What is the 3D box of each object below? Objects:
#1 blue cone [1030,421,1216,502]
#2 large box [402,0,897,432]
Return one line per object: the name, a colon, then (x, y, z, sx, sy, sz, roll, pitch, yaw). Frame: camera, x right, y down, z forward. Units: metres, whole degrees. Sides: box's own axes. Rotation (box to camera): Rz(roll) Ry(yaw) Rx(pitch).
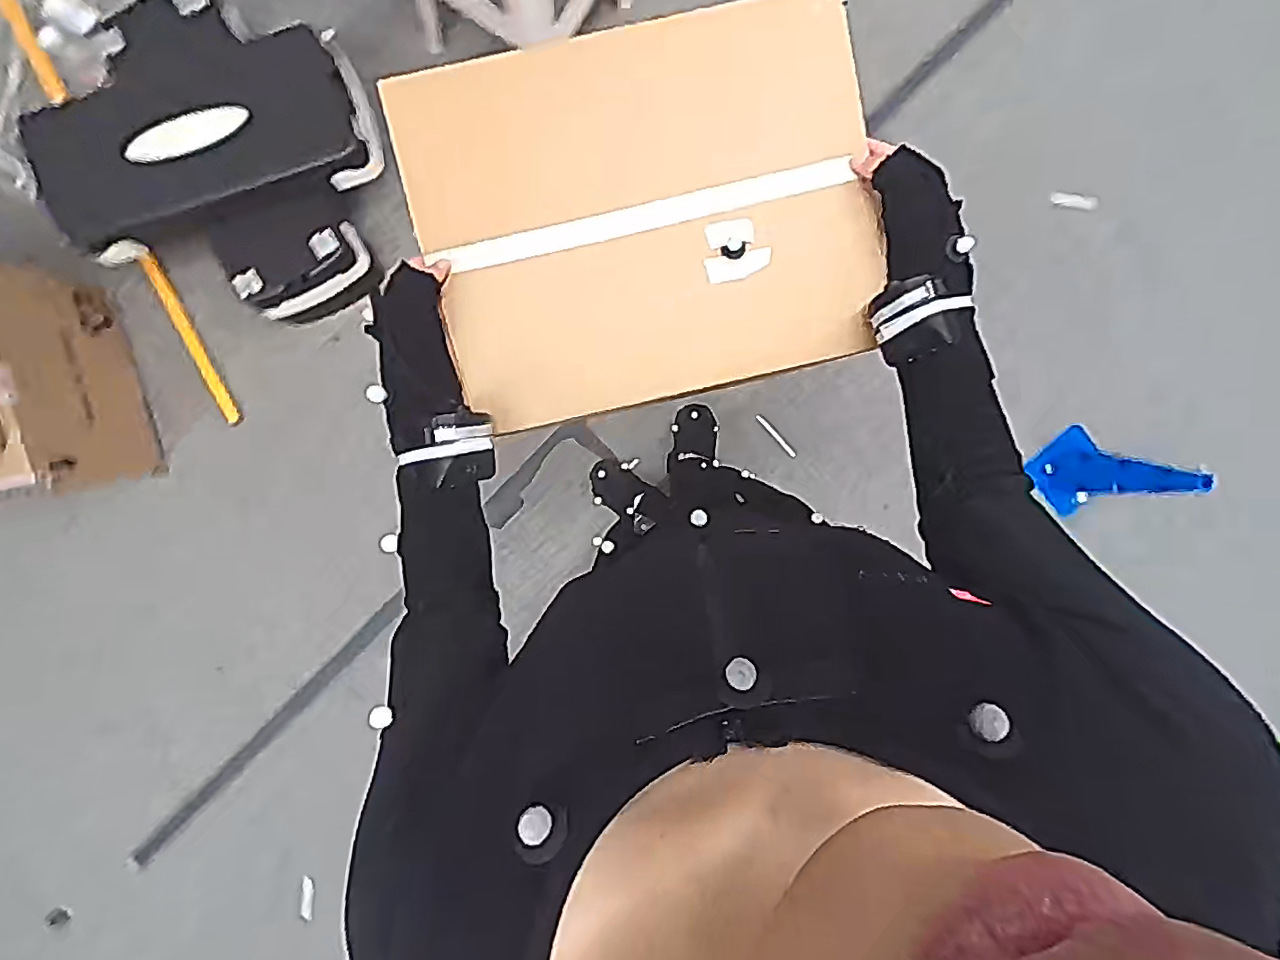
blue cone: (1.222, -0.036, 1.363, 0.192, 0.380, 0.193, -41, 96, 1)
large box: (0.009, -0.249, 0.634, 0.408, 0.320, 0.320, -12, 97, -1)
